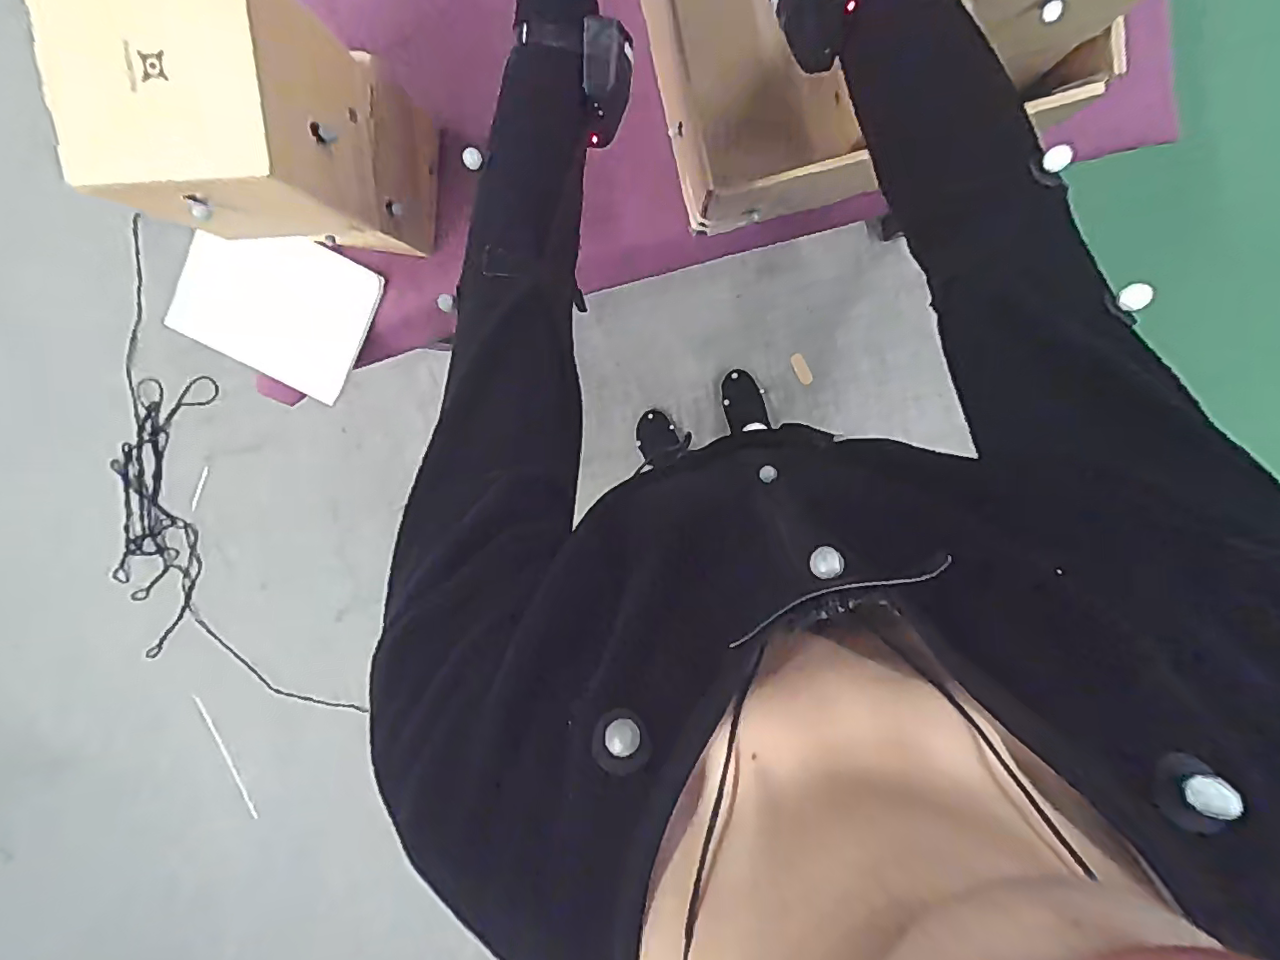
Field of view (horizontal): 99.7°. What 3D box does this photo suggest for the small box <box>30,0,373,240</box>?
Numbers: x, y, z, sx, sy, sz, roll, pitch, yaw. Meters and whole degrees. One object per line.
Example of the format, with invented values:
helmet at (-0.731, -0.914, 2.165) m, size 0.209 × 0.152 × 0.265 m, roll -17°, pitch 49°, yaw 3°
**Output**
small box at (-0.368, -0.327, 0.492) m, size 0.179 × 0.176 × 0.168 m, roll -1°, pitch 101°, yaw 4°
